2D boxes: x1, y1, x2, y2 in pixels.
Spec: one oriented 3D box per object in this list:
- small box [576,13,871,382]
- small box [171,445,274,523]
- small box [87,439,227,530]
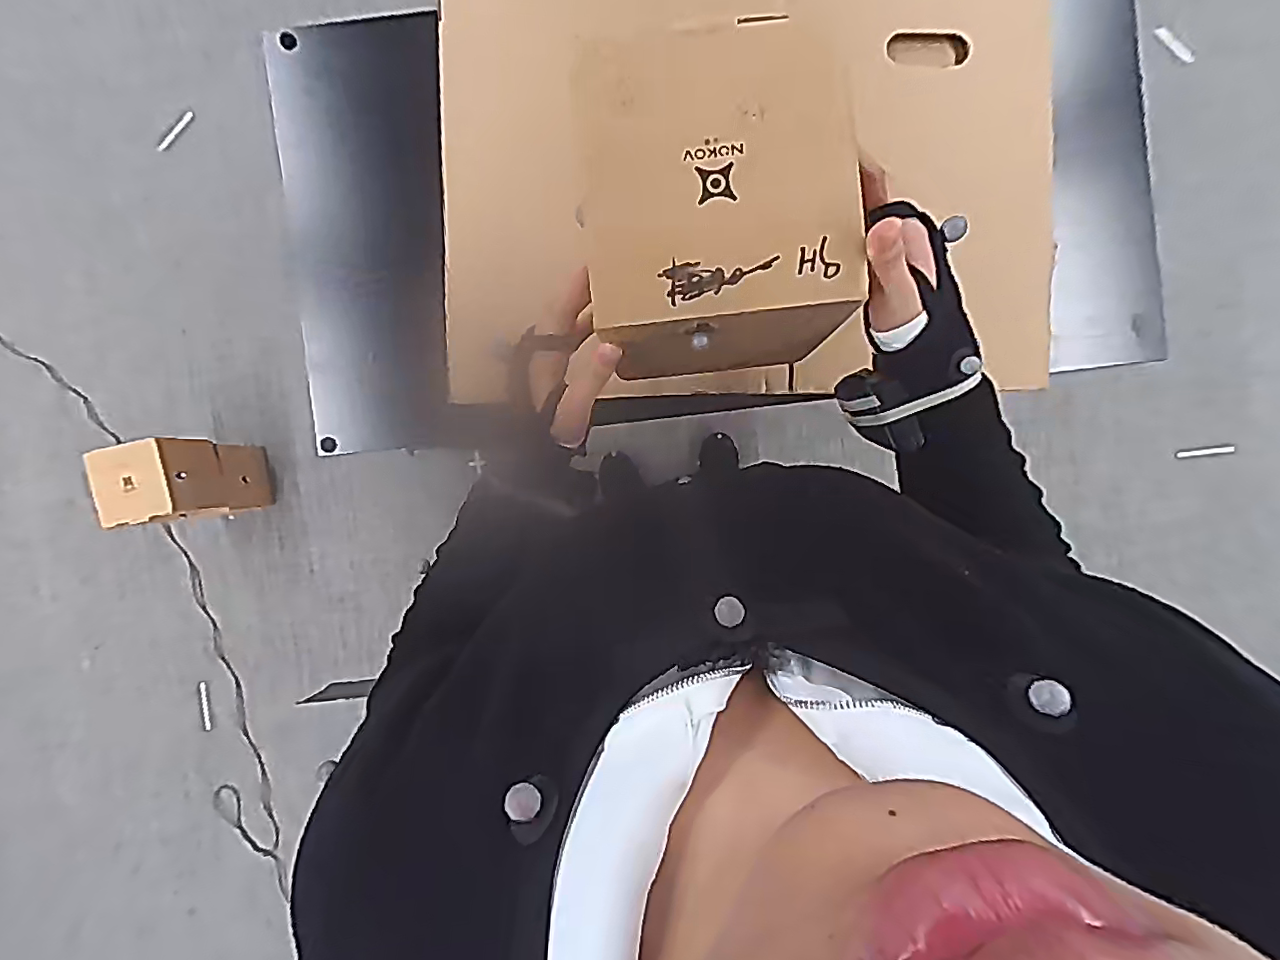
[{"bbox_3d":[0.051,-0.182,0.401,0.168,0.176,0.179,-5,89,4],"label":"small box"},{"bbox_3d":[-1.119,0.009,1.437,0.168,0.176,0.179,-11,92,1],"label":"small box"},{"bbox_3d":[-1.124,0.008,1.275,0.168,0.176,0.179,-14,90,0],"label":"small box"}]
